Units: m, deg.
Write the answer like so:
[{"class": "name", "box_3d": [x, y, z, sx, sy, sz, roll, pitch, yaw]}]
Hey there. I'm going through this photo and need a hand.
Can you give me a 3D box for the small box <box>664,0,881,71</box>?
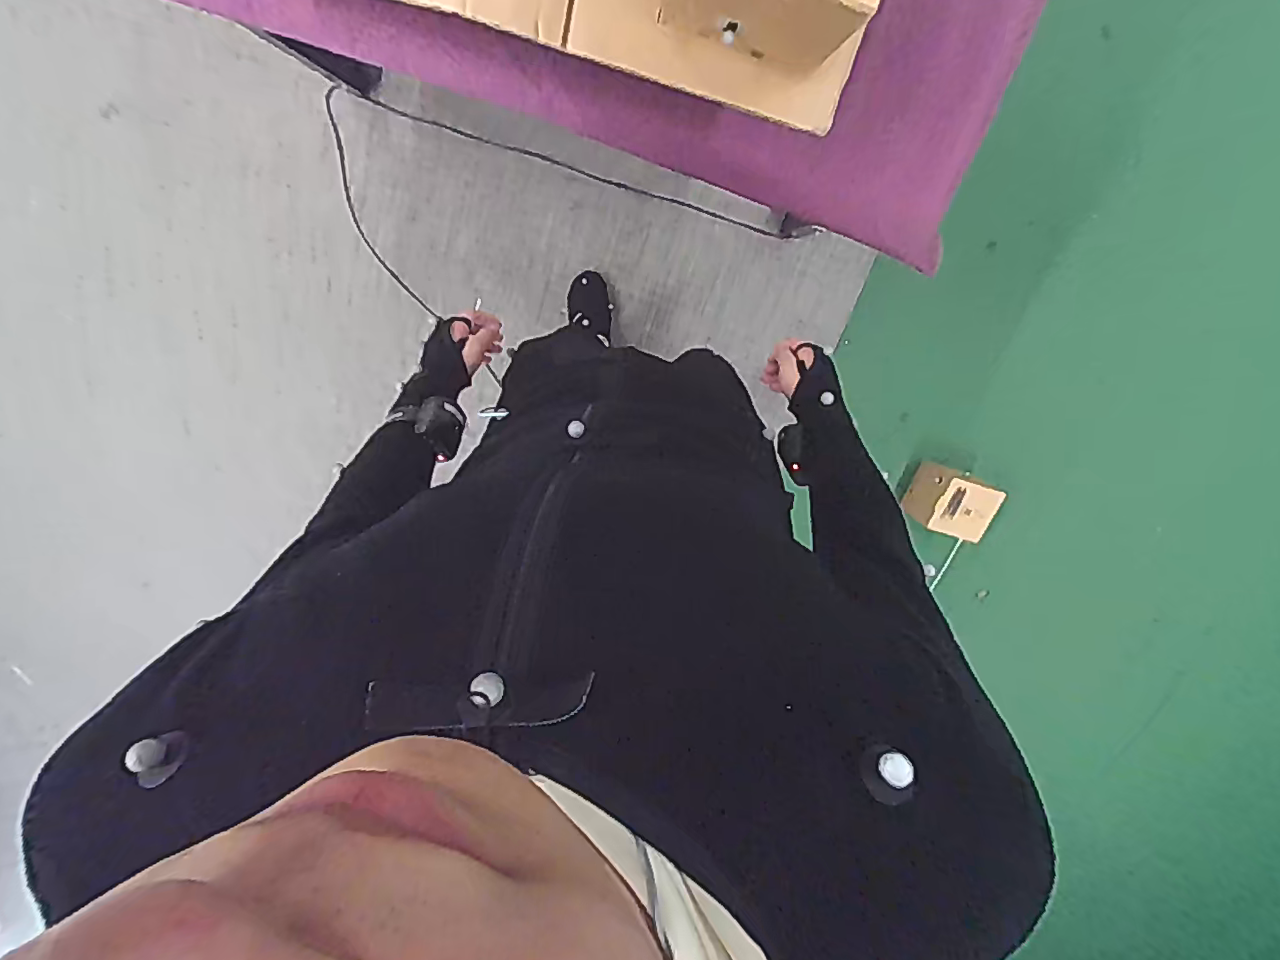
[{"class": "small box", "box_3d": [0.122, -0.486, 0.447, 0.168, 0.176, 0.179, 12, 112, -8]}]
